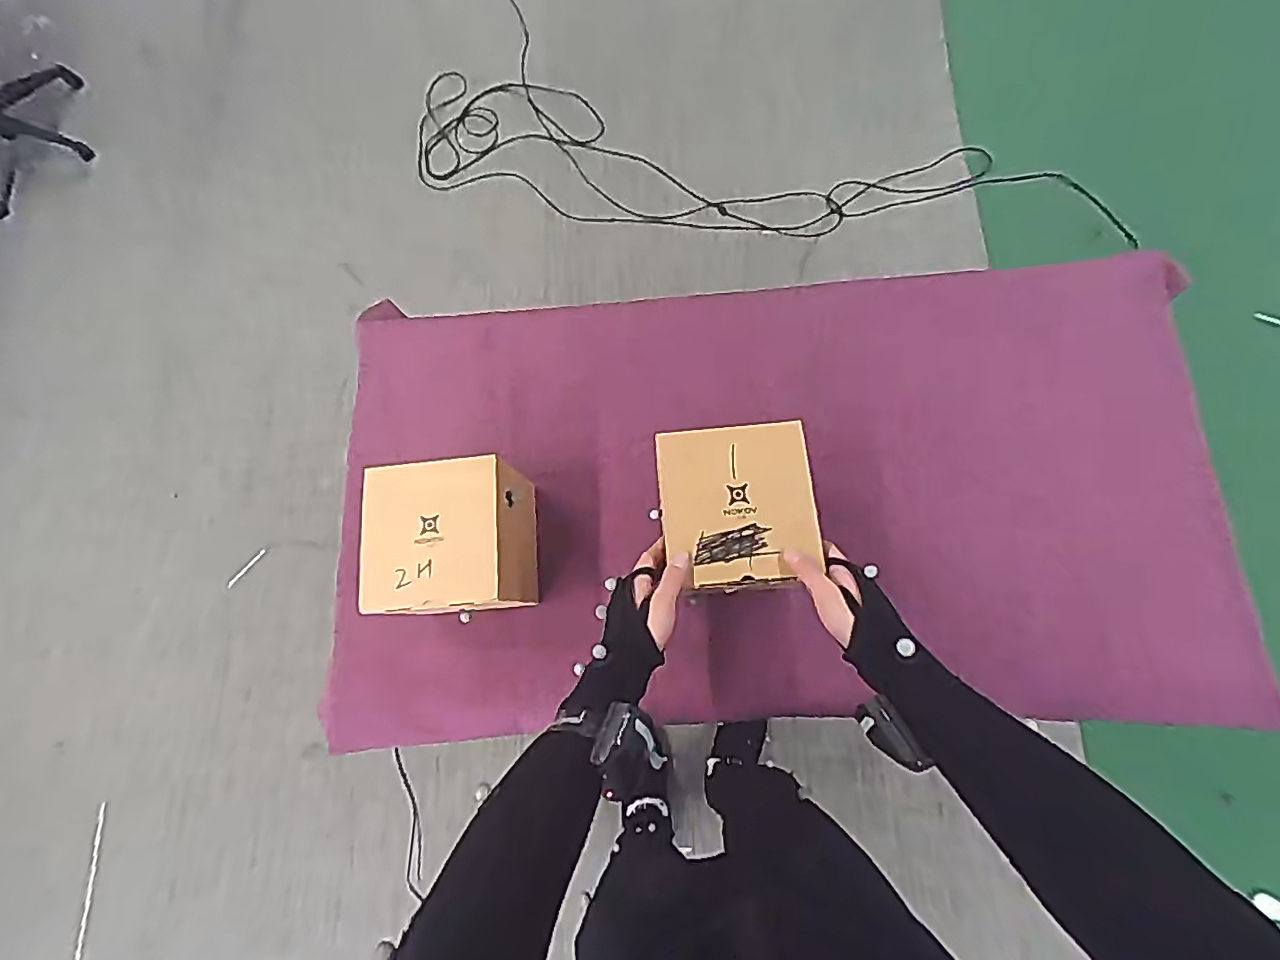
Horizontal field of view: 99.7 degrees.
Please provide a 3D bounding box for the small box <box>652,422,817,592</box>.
[{"bbox_3d":[0.104,0.044,0.663,0.168,0.176,0.179,-5,74,2],"label":"small box"}]

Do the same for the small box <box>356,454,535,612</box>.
[{"bbox_3d":[-0.241,0.078,0.708,0.168,0.176,0.179,-6,76,4],"label":"small box"}]
